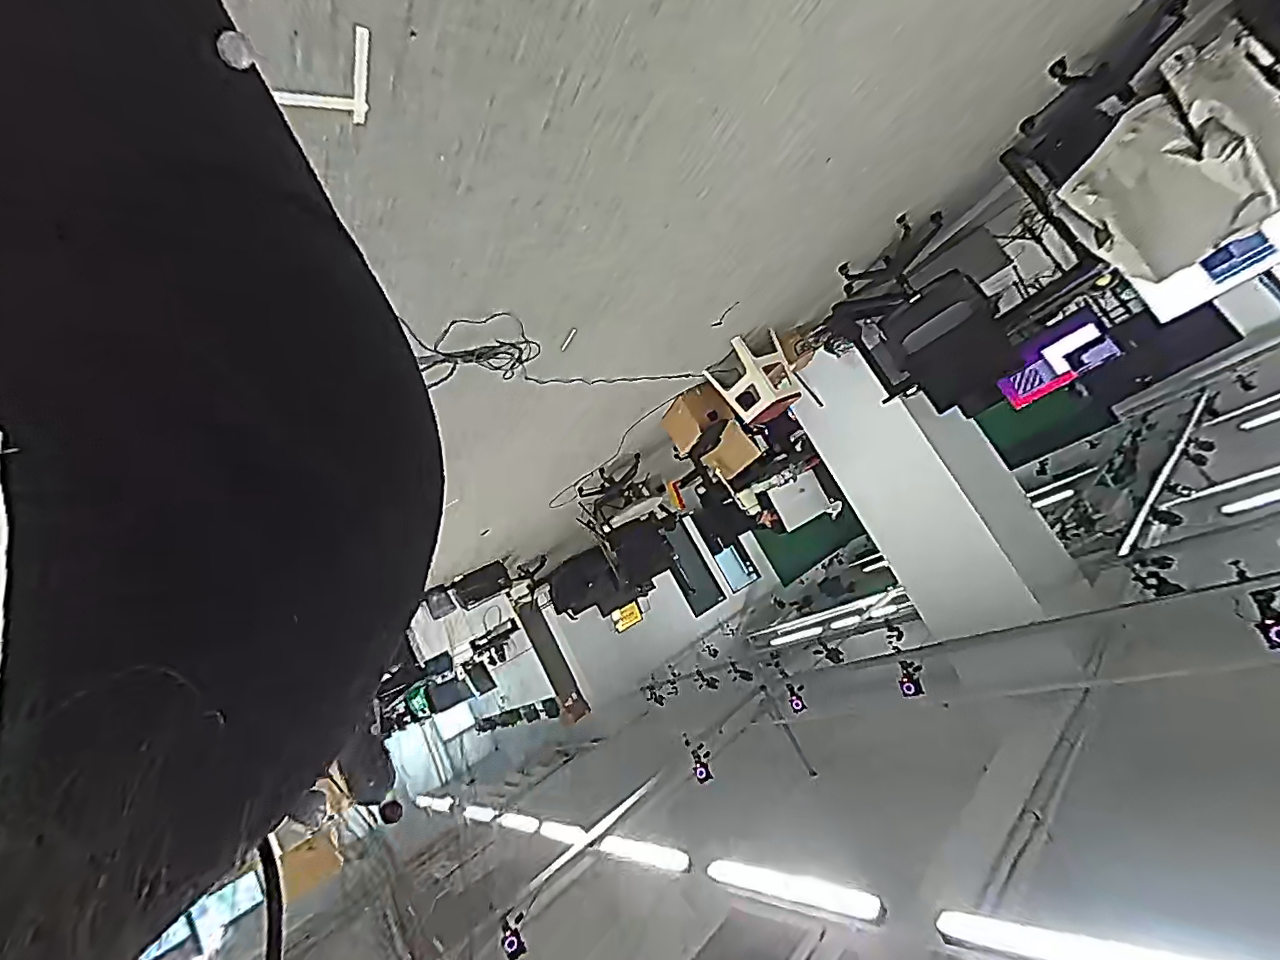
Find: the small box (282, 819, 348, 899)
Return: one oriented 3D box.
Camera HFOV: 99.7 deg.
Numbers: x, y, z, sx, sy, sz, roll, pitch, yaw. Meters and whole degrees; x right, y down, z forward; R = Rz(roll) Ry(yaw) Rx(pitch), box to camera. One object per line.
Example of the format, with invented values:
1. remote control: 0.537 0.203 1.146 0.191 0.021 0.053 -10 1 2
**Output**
1. small box: -1.194 1.383 1.992 0.168 0.176 0.179 -20 168 -32
